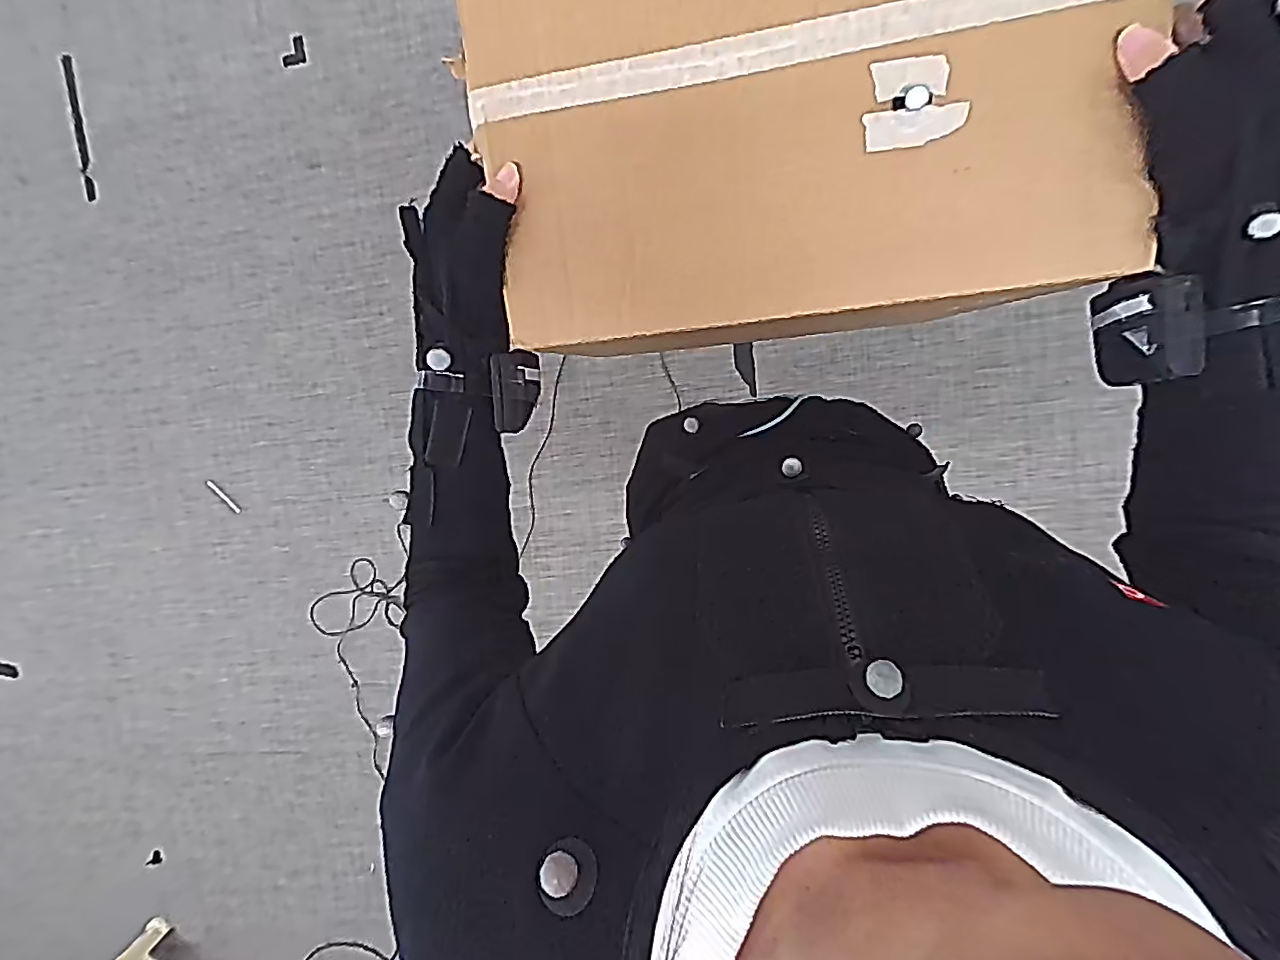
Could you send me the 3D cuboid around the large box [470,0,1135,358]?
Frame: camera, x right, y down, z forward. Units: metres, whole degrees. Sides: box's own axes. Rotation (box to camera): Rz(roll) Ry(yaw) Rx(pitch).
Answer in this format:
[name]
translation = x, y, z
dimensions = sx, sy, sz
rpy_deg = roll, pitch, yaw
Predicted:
[large box]
translation = 0.108, -0.295, 0.487
dimensions = 0.408, 0.320, 0.320
rpy_deg = -6, 101, 8
